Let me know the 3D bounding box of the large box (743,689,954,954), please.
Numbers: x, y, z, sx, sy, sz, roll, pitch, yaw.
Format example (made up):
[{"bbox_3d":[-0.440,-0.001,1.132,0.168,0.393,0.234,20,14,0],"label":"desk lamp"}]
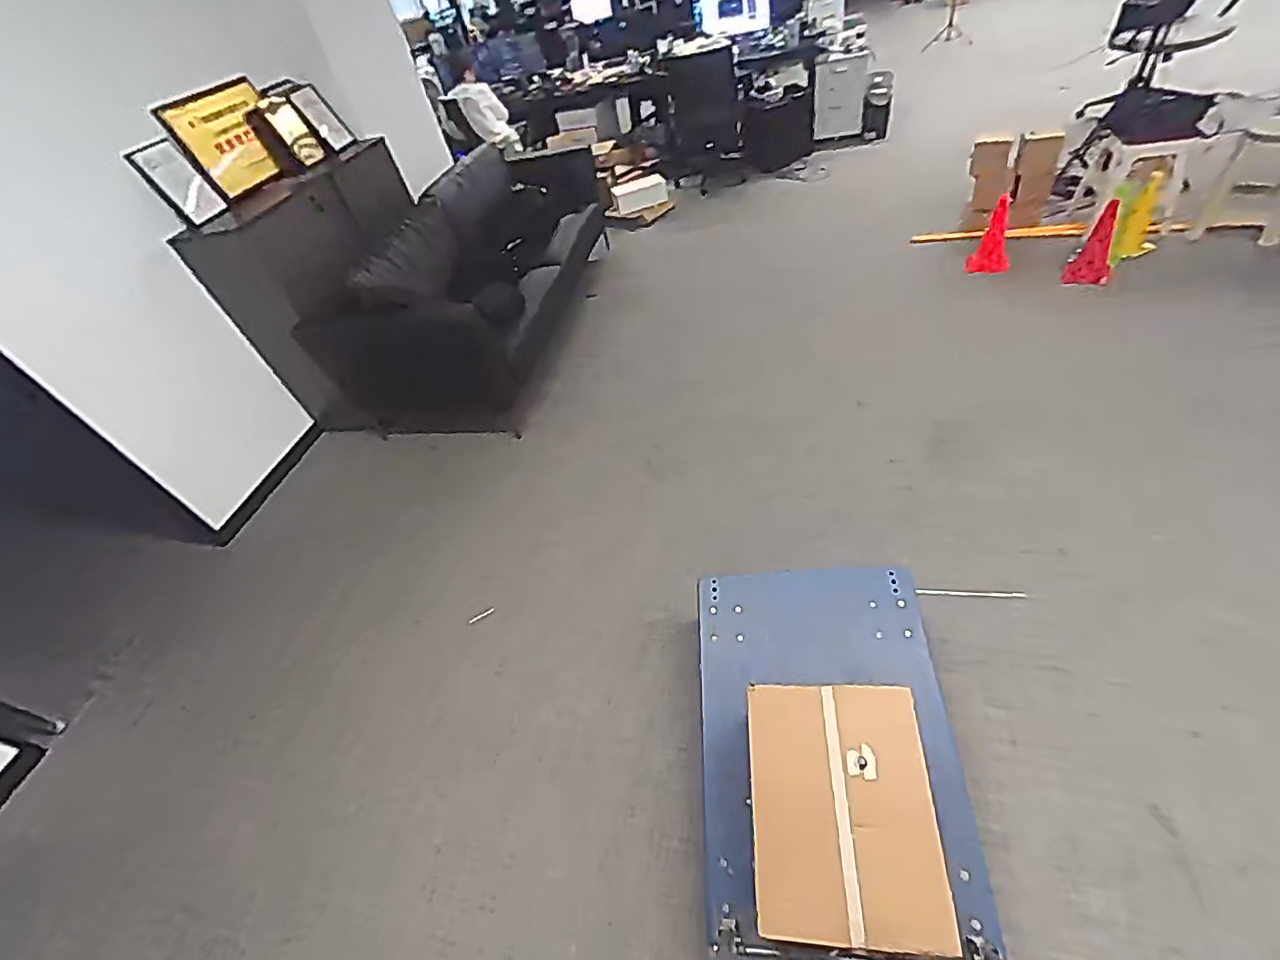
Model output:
[{"bbox_3d":[0.385,0.671,1.100,0.320,0.320,0.408,-3,56,11],"label":"large box"}]
